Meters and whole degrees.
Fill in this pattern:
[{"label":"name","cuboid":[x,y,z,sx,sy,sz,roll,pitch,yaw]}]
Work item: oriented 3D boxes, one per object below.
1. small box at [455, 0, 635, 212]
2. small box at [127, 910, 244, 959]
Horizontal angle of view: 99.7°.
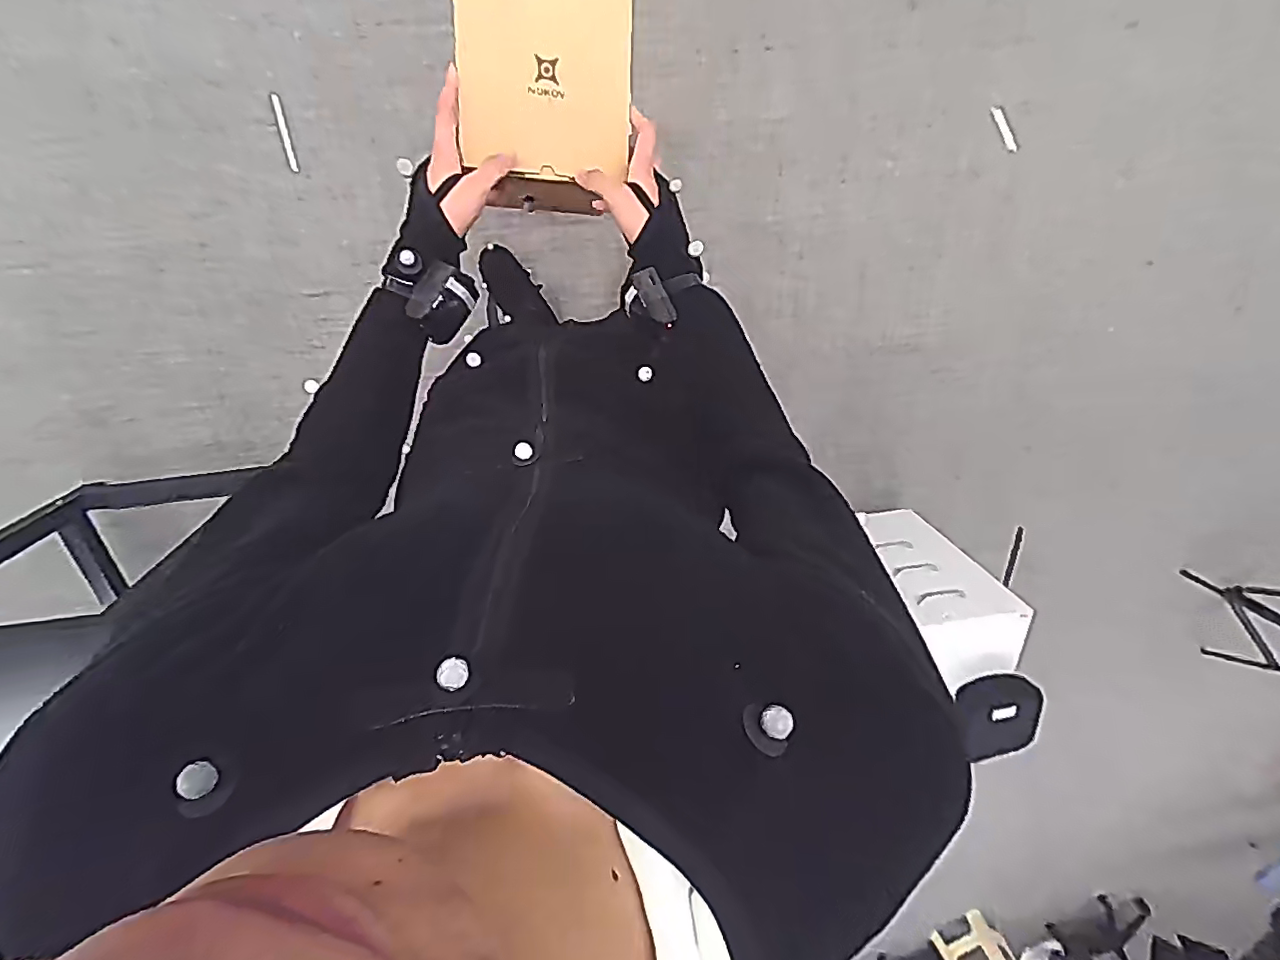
[{"label":"small box","cuboid":[-0.105,-0.403,0.579,0.168,0.176,0.179,-2,107,-13]},{"label":"small box","cuboid":[-1.032,1.106,1.211,0.179,0.176,0.168,-8,116,-5]}]
